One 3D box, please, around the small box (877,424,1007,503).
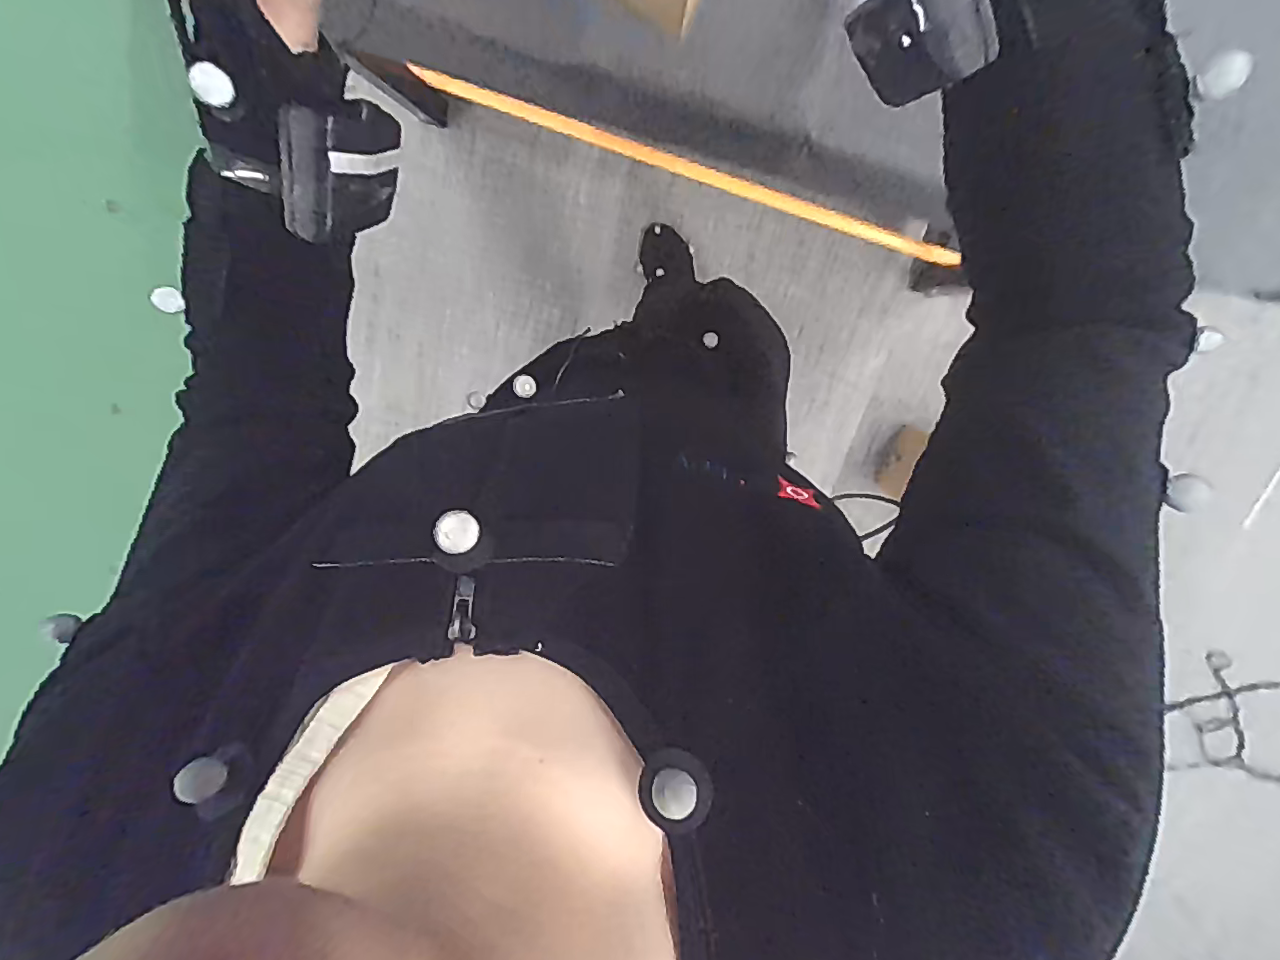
[{"bbox_3d":[0.683,-0.018,1.240,0.179,0.176,0.168,18,107,-2],"label":"small box"}]
